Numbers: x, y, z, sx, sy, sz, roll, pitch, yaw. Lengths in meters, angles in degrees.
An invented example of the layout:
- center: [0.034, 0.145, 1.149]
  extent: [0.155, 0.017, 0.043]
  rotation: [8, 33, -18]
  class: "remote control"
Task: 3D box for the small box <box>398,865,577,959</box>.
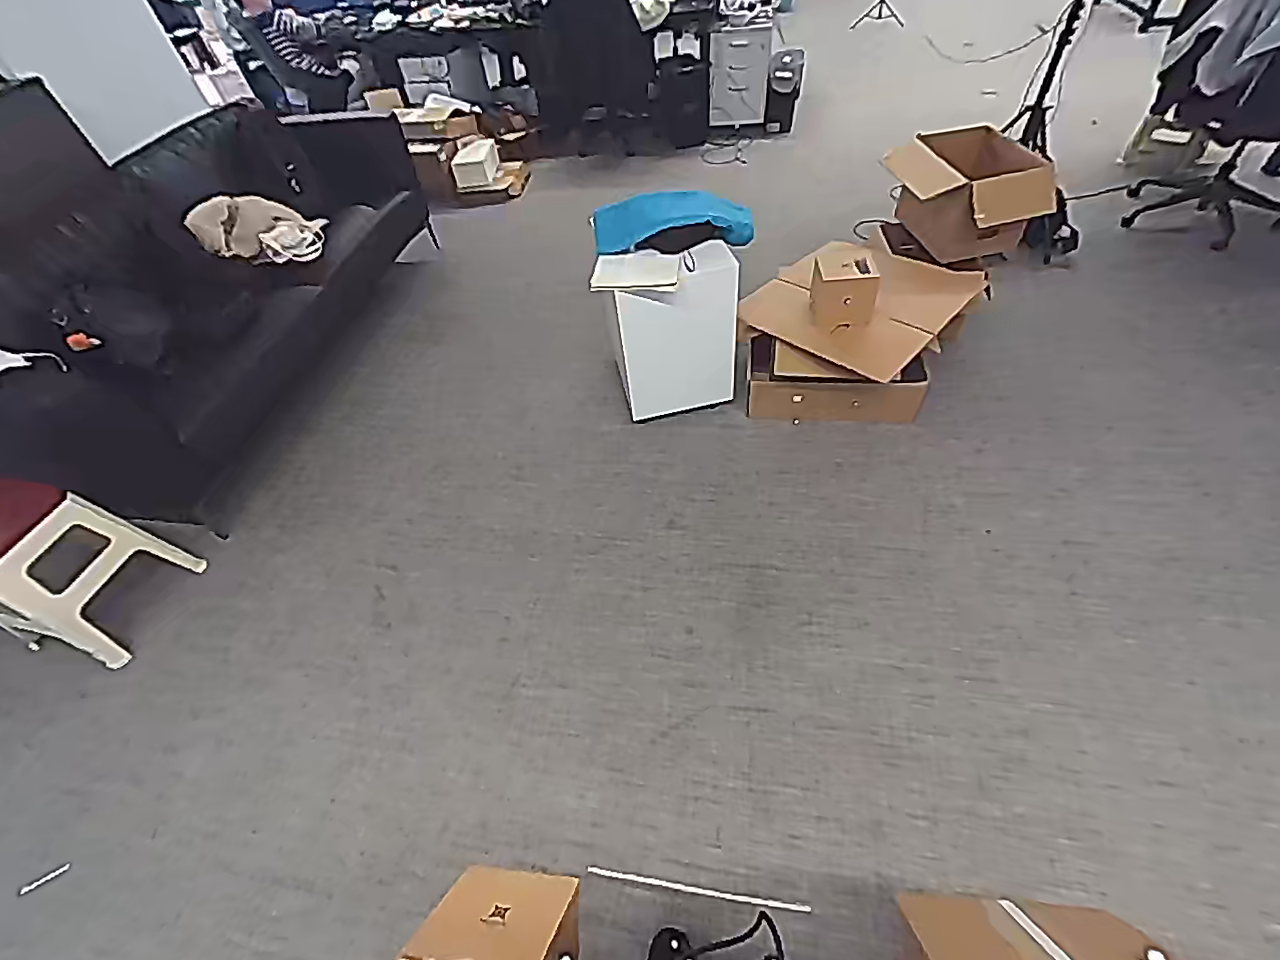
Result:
- center: [-0.184, 0.628, 0.672]
  extent: [0.168, 0.179, 0.176]
  rotation: [0, 85, 10]
  class: "small box"
